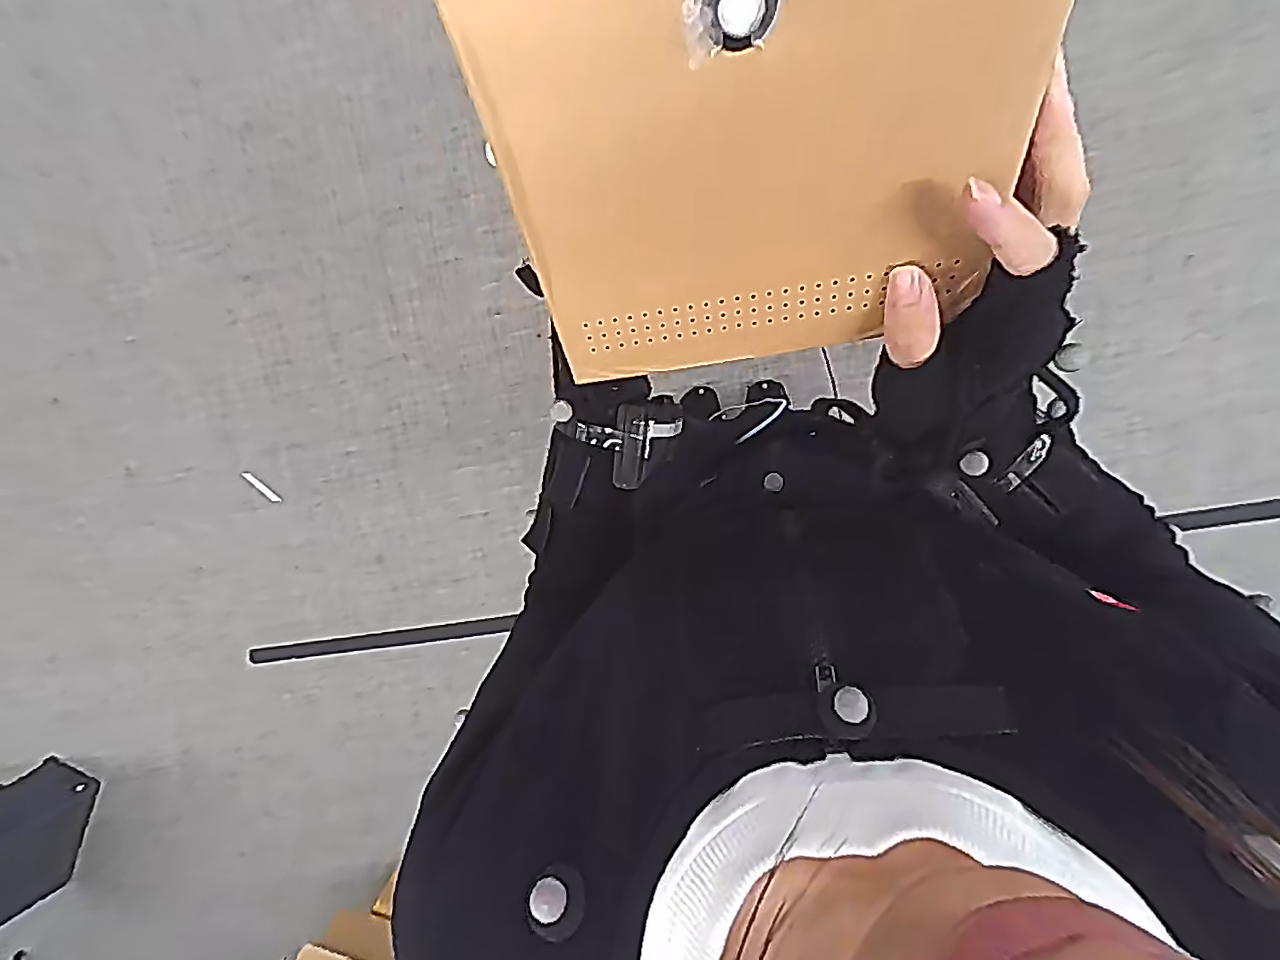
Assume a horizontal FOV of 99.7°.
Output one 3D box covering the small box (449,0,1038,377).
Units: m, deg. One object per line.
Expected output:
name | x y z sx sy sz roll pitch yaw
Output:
small box | 0.042 -0.163 0.237 0.179 0.168 0.176 -7 140 9
